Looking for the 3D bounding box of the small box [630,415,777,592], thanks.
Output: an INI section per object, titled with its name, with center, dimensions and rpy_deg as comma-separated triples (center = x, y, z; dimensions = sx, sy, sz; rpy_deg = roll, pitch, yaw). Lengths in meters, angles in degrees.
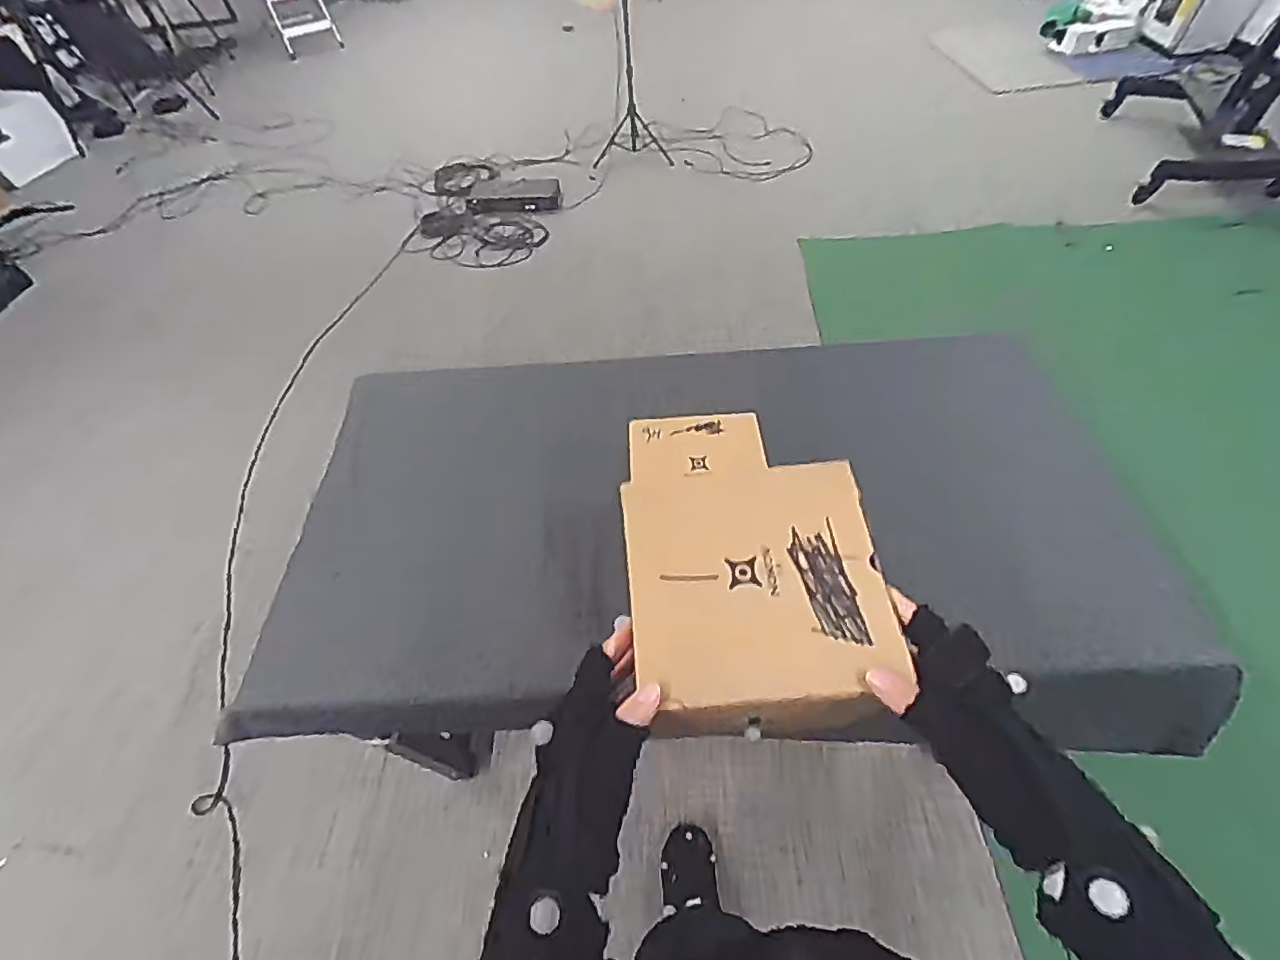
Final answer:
[small box]
center = 0.077, 0.039, 0.714
dimensions = 0.168, 0.176, 0.179
rpy_deg = -5, 54, 3
